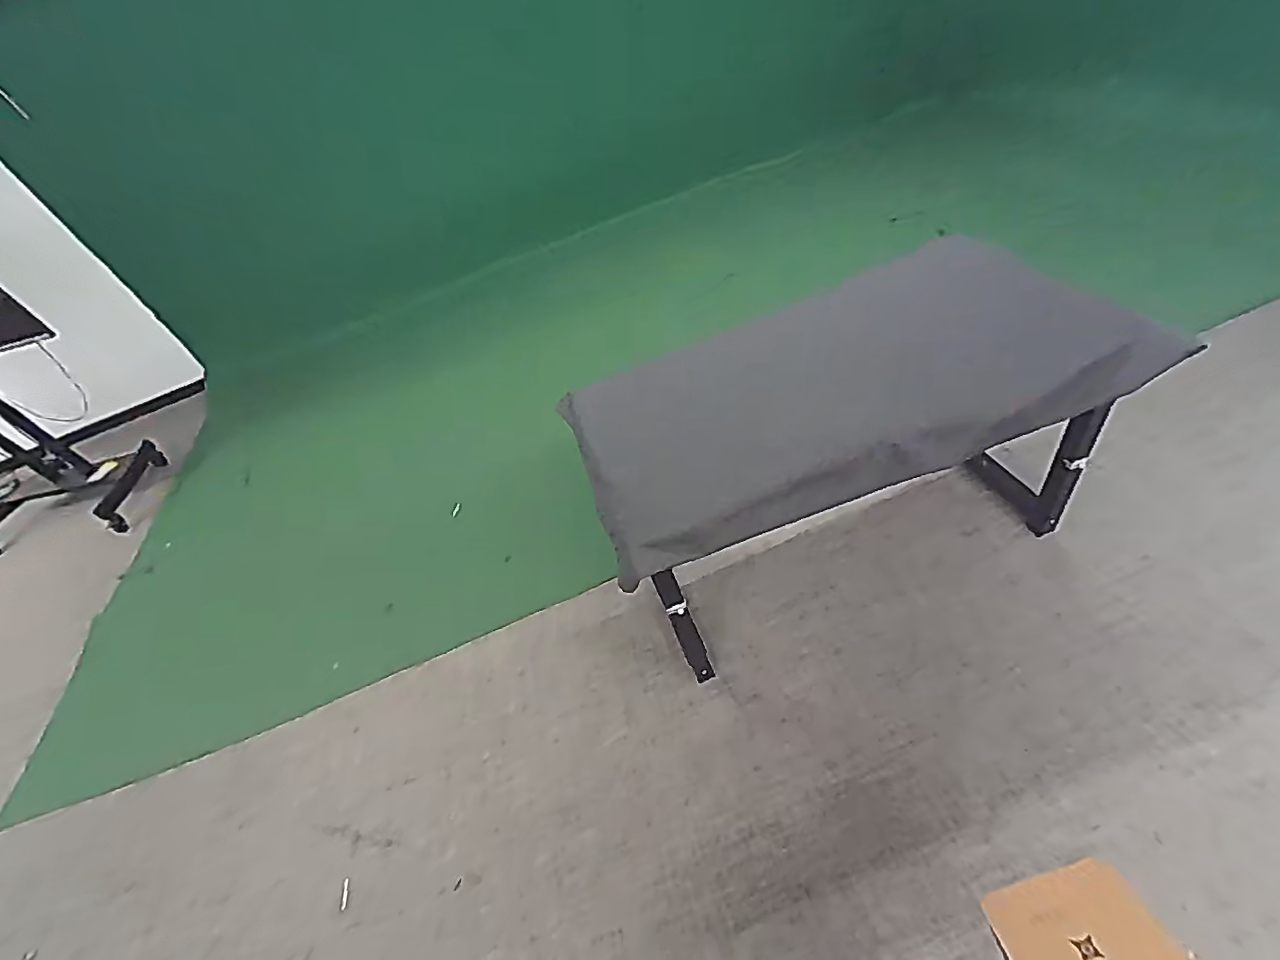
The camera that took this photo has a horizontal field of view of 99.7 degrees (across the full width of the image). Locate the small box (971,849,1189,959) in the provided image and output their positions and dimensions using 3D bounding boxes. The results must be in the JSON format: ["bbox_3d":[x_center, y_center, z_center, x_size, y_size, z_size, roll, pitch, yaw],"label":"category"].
[{"bbox_3d":[0.536,0.589,0.627,0.168,0.176,0.179,-26,15,8],"label":"small box"}]
